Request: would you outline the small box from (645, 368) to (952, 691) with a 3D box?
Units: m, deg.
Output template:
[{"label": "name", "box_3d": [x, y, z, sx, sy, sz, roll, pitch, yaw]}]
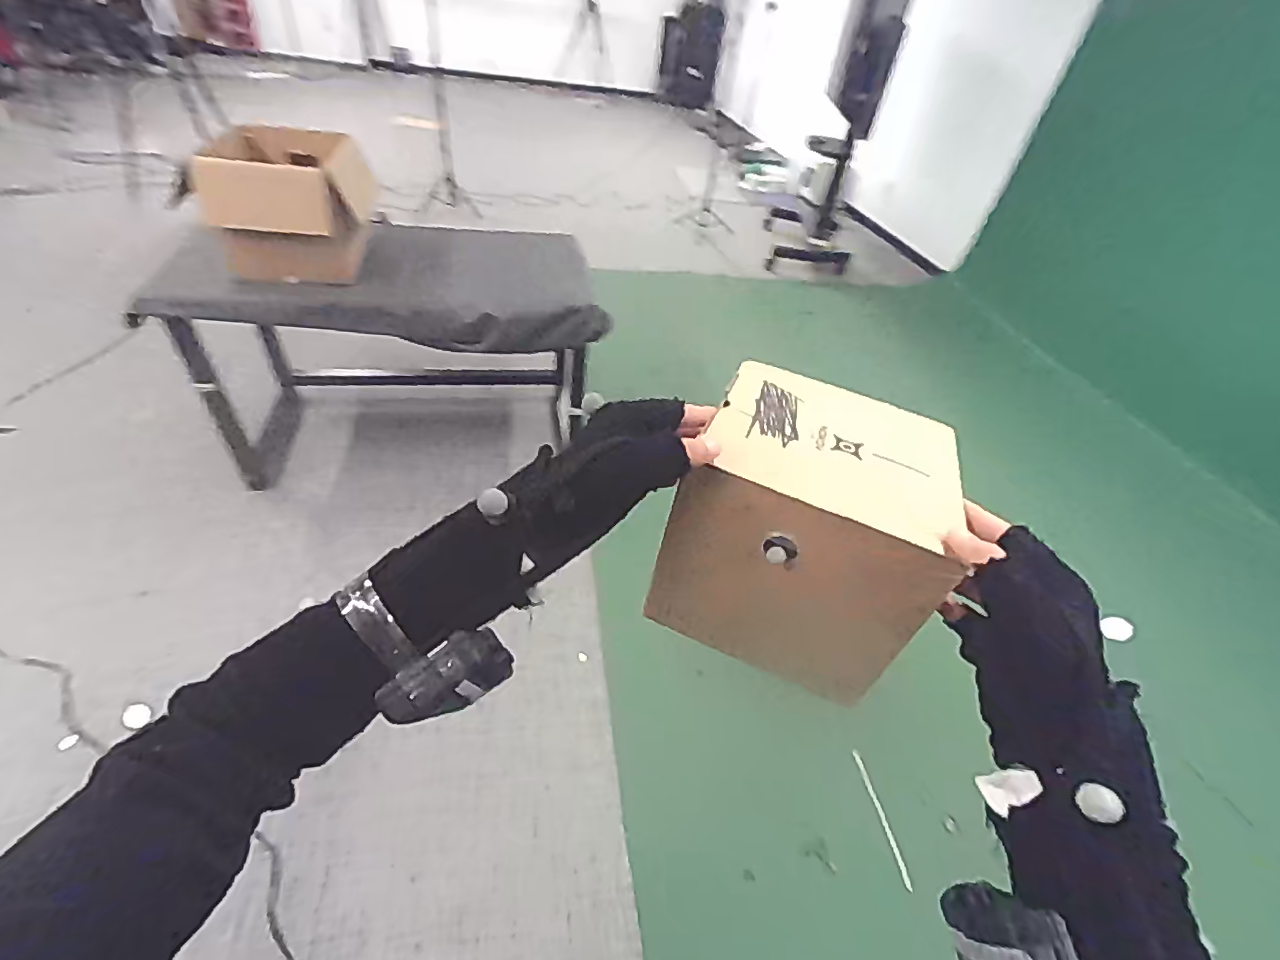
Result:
[{"label": "small box", "box_3d": [0.118, 0.038, 0.441, 0.179, 0.176, 0.168, 22, 40, 10]}]
